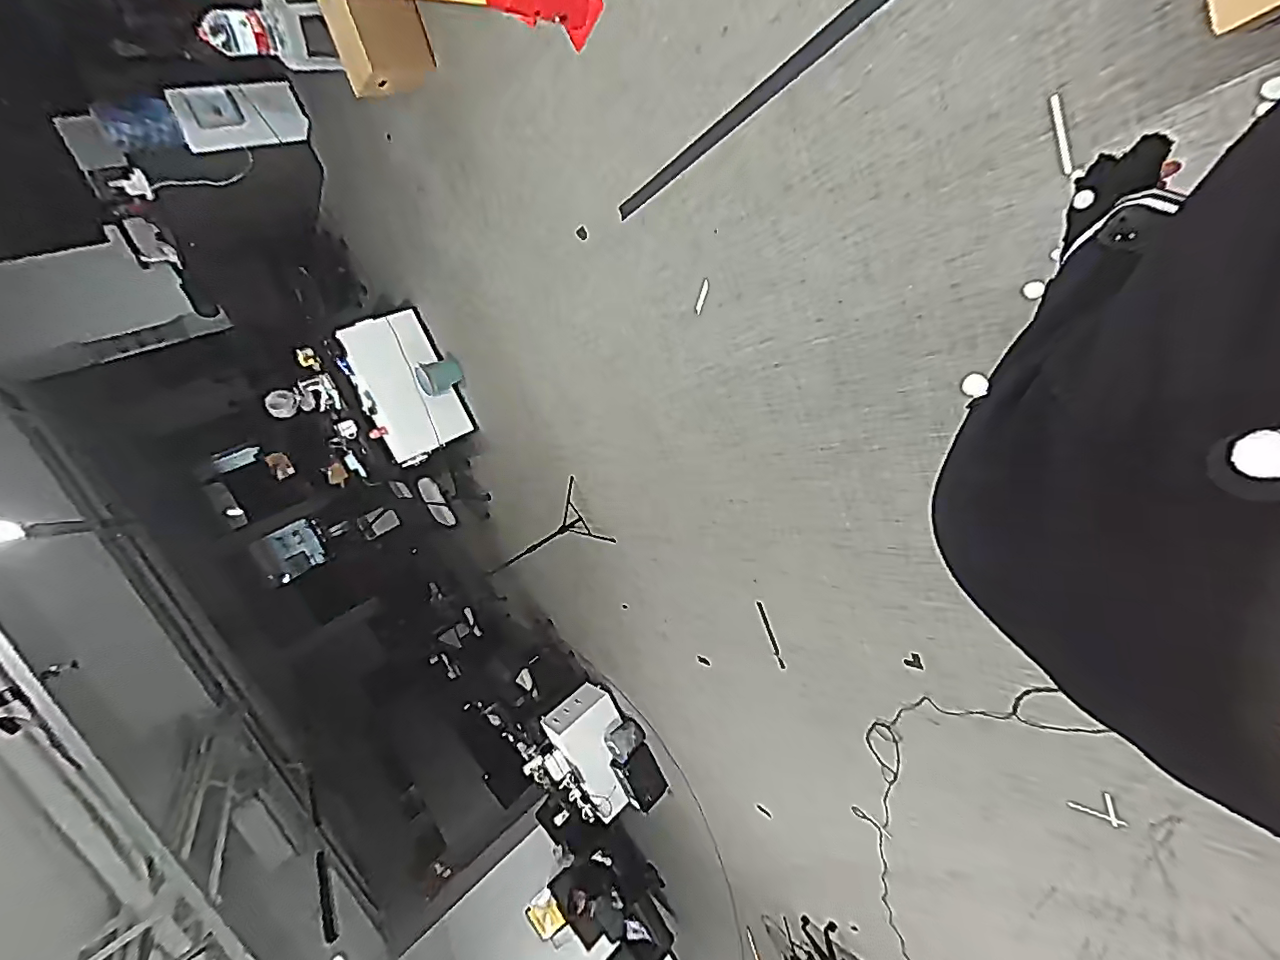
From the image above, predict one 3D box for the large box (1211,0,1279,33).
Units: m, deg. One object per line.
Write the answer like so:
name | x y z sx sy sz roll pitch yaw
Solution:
large box | 0.916 -0.806 0.603 0.408 0.320 0.320 -7 111 55
